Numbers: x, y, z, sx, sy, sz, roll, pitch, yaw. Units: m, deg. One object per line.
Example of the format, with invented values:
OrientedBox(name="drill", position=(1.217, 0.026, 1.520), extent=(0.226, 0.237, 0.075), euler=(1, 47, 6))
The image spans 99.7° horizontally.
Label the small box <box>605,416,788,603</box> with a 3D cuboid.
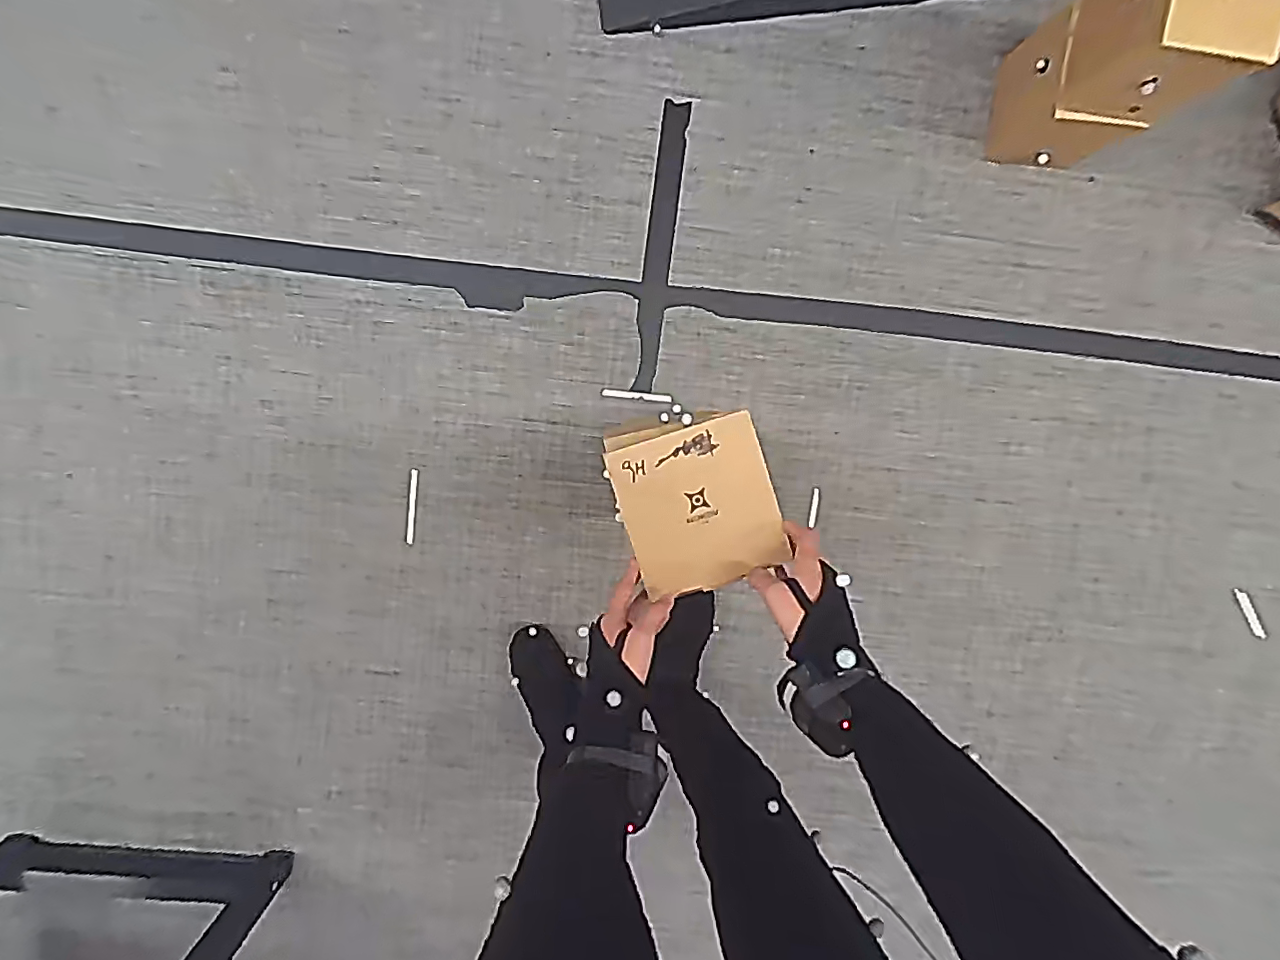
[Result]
OrientedBox(name="small box", position=(0.063, 0.026, 0.669), extent=(0.168, 0.176, 0.179), euler=(-17, 95, 0))
